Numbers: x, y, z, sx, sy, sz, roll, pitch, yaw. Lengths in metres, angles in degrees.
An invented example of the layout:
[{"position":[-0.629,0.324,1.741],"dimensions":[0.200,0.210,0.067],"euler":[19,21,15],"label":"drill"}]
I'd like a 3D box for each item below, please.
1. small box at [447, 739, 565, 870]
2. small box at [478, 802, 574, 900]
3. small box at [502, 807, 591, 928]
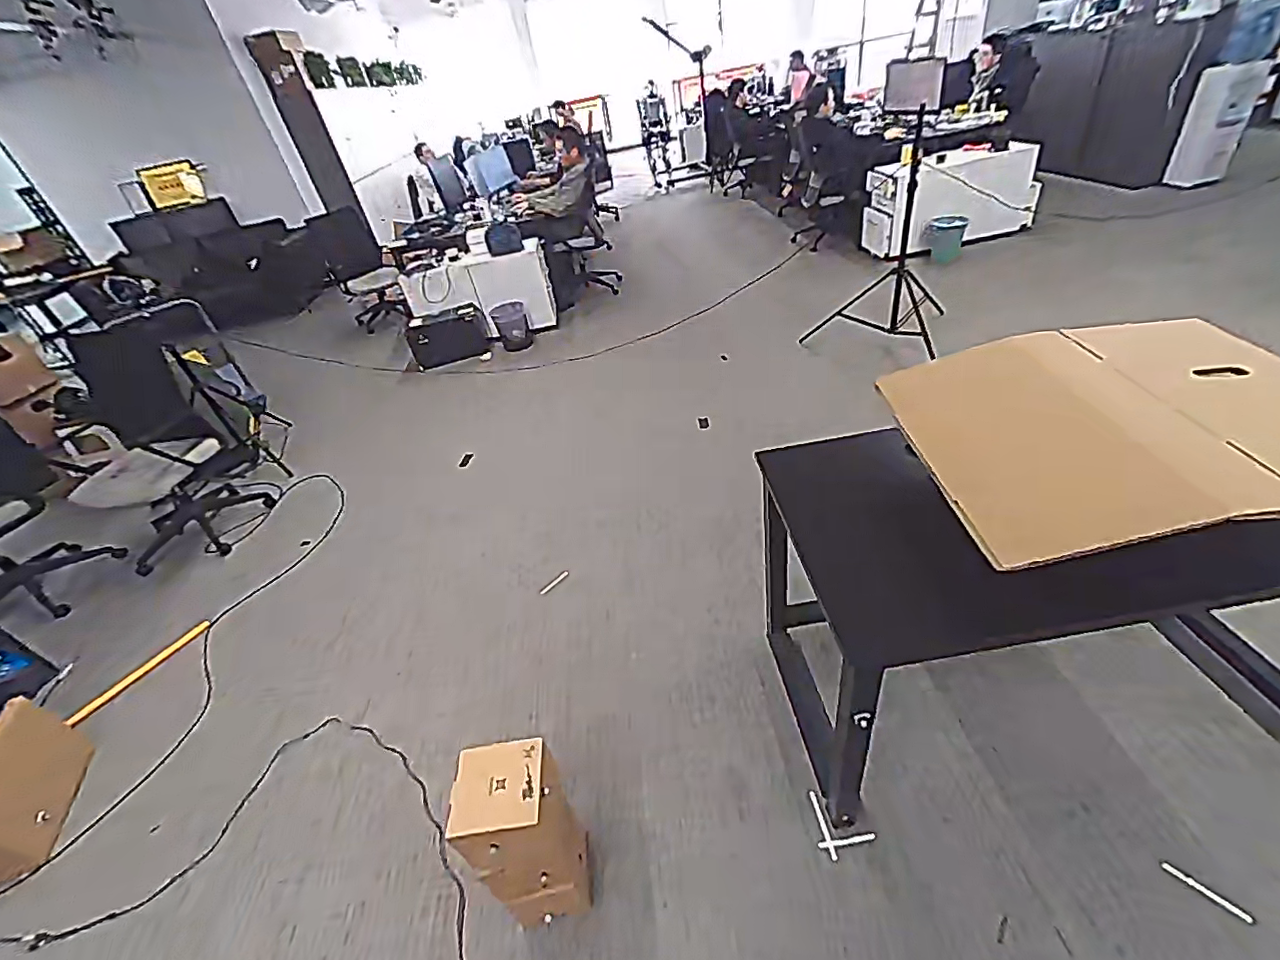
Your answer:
[{"position":[-0.260,0.659,1.094],"dimensions":[0.179,0.176,0.168],"euler":[-11,36,2],"label":"small box"},{"position":[-0.248,0.790,1.194],"dimensions":[0.168,0.176,0.179],"euler":[-14,35,-5],"label":"small box"},{"position":[-0.217,0.920,1.285],"dimensions":[0.168,0.176,0.179],"euler":[-13,37,-1],"label":"small box"}]
